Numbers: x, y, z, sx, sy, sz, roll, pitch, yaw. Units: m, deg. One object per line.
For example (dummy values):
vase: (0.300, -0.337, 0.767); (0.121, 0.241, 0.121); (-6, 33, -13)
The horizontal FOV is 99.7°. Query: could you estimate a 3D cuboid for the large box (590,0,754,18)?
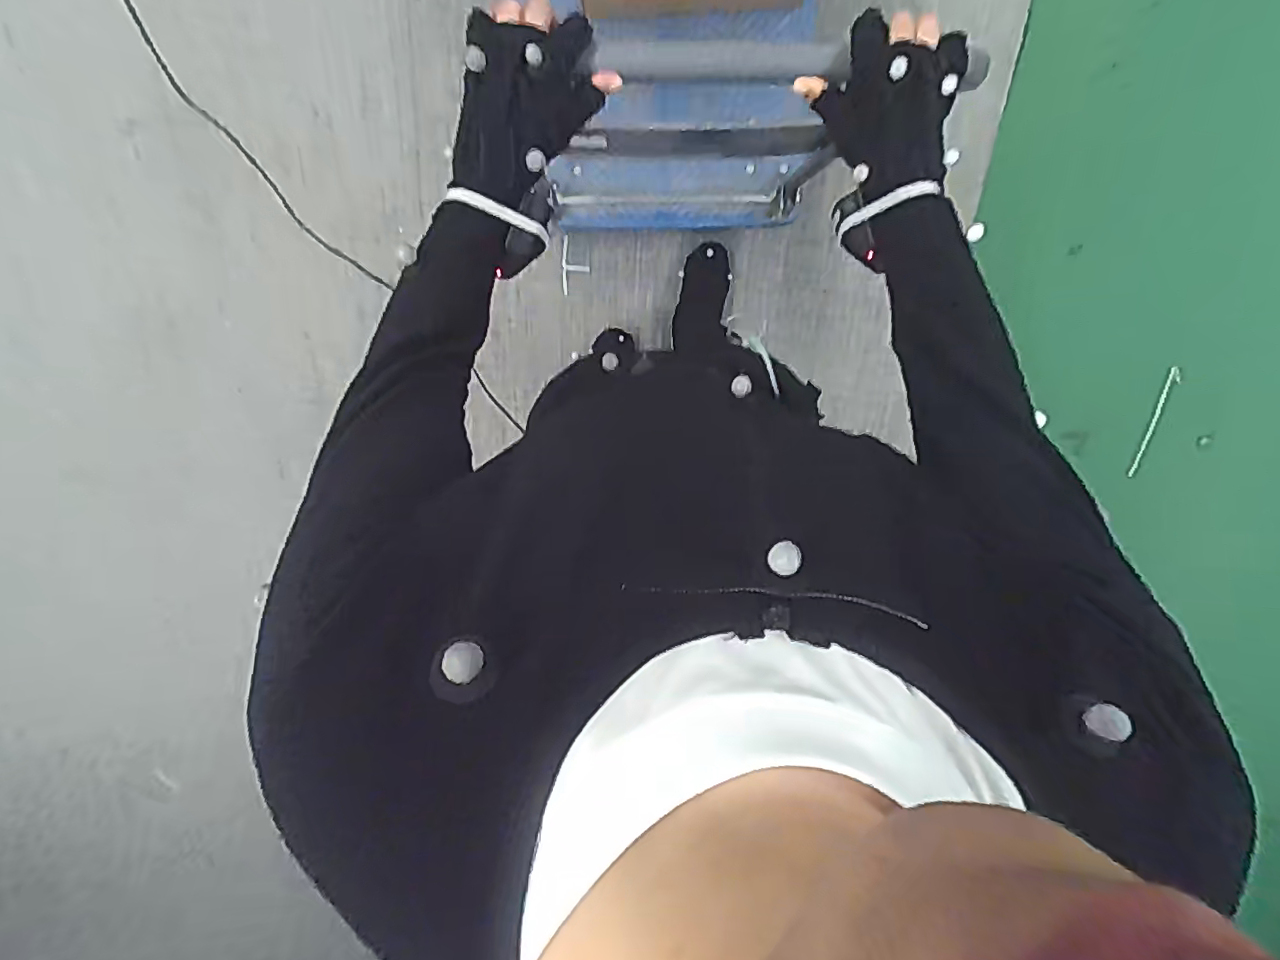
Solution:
large box: (0.096, -0.977, 0.828); (0.408, 0.320, 0.320); (-5, 110, 1)
